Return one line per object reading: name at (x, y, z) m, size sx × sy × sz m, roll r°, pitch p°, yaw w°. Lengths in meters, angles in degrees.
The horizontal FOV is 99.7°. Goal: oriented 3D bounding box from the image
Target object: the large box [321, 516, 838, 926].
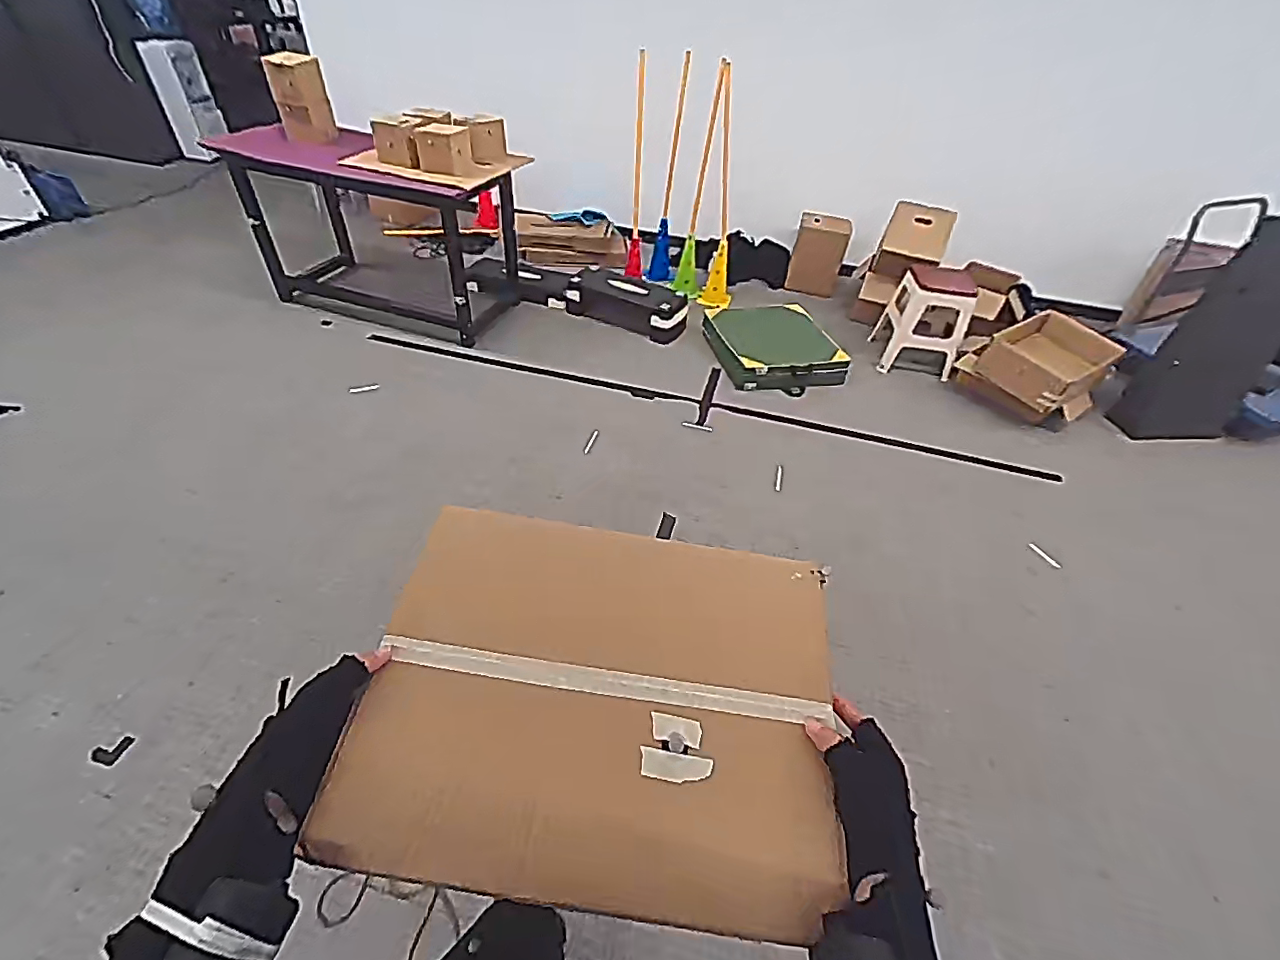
large box at (-0.043, 0.276, 0.613) m, size 0.408 × 0.320 × 0.320 m, roll 9°, pitch 53°, yaw 1°
